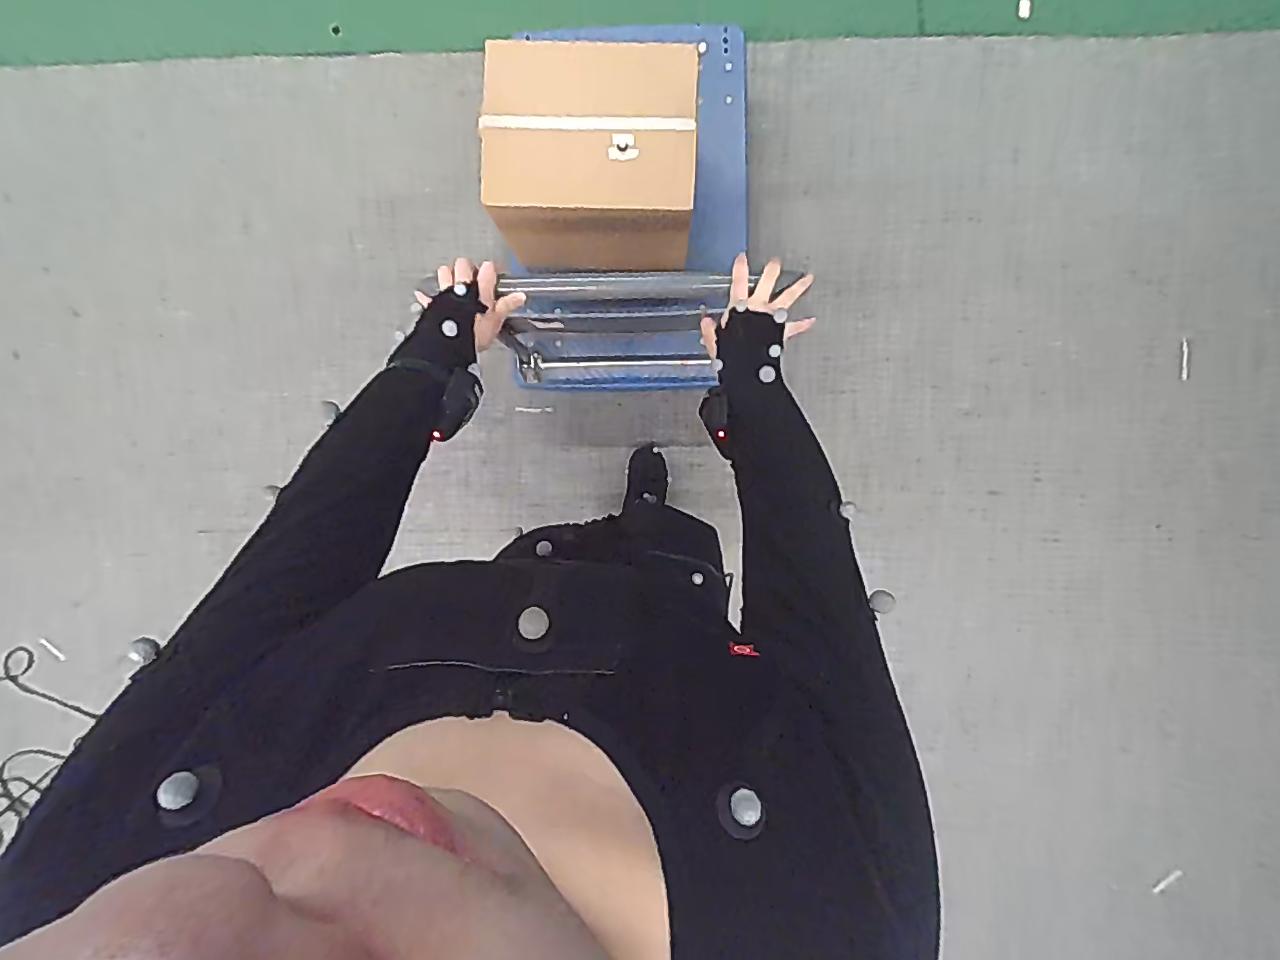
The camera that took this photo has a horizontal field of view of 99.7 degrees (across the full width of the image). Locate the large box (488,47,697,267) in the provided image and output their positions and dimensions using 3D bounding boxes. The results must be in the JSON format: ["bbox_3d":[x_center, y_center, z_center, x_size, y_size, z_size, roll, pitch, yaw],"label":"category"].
[{"bbox_3d":[-0.092,-0.677,1.184,0.408,0.320,0.320,1,91,0],"label":"large box"}]
